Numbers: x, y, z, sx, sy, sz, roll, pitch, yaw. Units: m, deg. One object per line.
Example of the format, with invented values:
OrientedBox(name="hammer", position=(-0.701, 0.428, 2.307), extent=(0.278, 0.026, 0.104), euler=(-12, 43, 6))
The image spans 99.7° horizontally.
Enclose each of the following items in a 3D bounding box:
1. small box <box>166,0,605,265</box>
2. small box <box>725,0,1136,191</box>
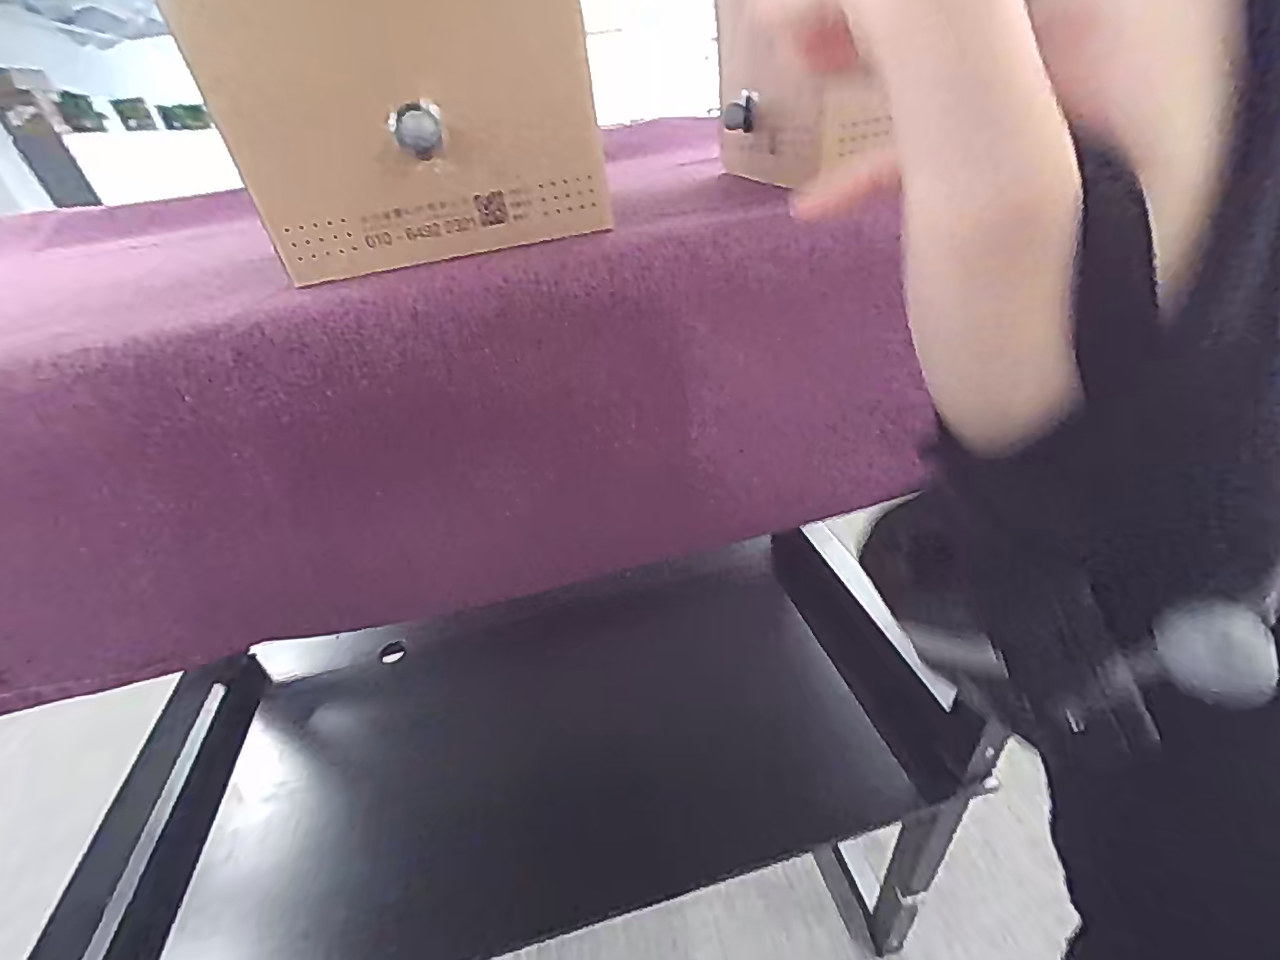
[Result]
OrientedBox(name="small box", position=(-0.124, -0.226, 0.291), extent=(0.168, 0.176, 0.179), euler=(-15, 35, -8))
OrientedBox(name="small box", position=(0.152, -0.281, 0.313), extent=(0.179, 0.176, 0.168), euler=(-13, 34, -5))
